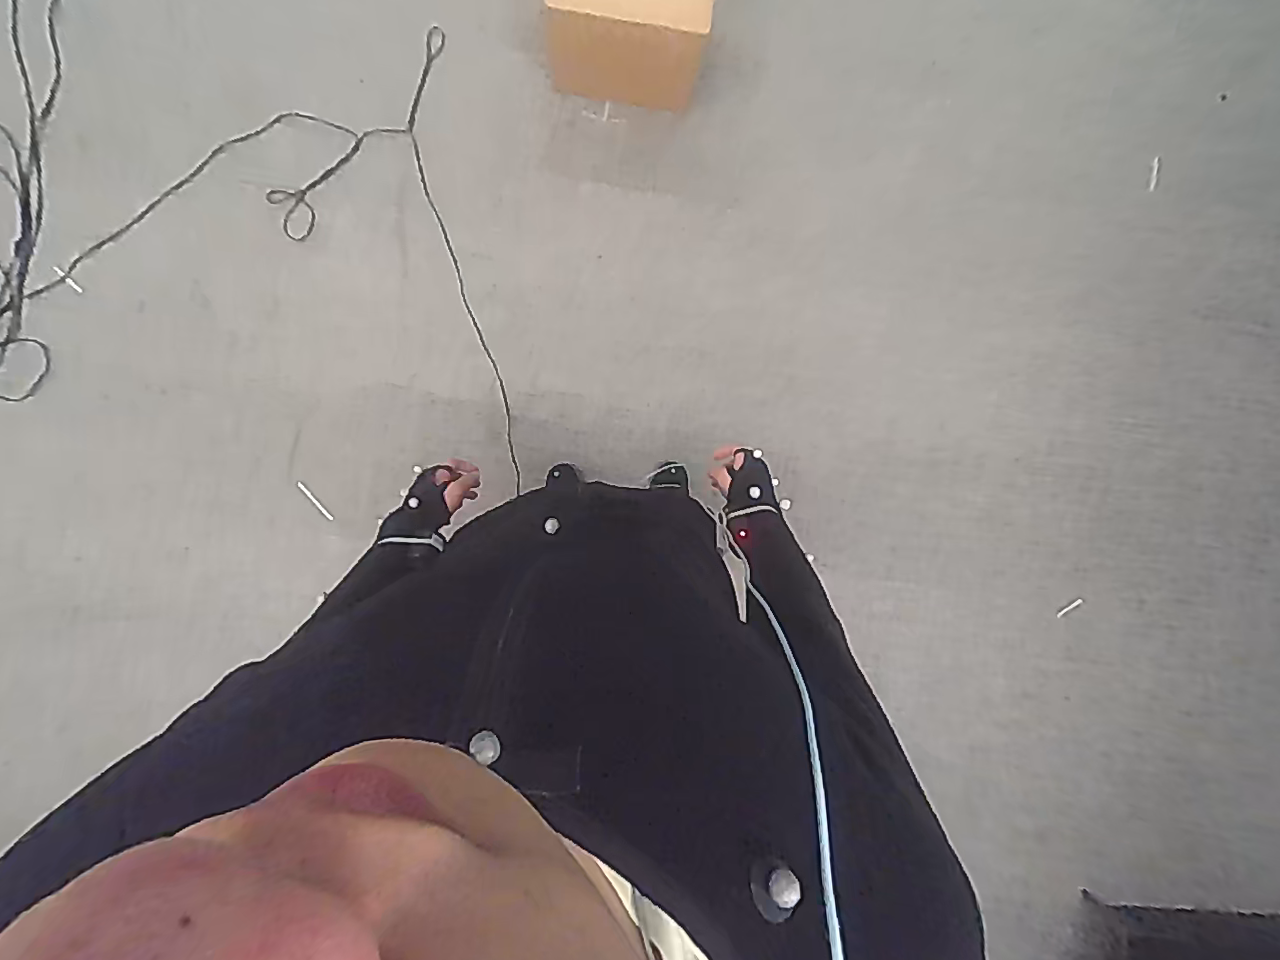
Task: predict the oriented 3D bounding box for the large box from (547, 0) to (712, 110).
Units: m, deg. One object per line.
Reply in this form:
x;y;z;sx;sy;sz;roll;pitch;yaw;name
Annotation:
-0.030;-1.257;1.443;0.408;0.320;0.320;5;93;-5;large box
